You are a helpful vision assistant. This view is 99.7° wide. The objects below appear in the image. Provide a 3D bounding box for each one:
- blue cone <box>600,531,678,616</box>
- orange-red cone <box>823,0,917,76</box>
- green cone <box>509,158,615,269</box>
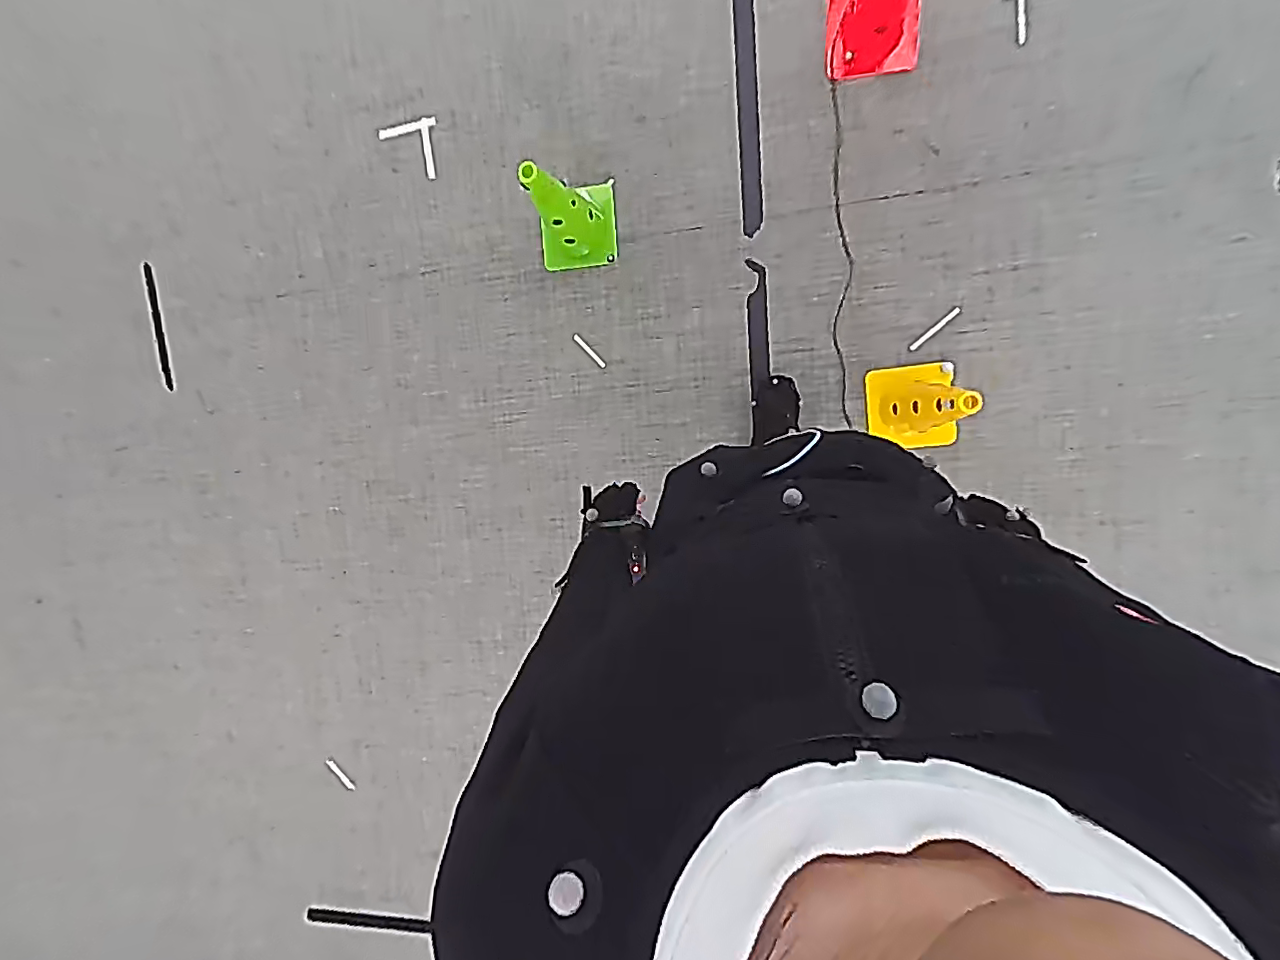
[{"bbox_3d":[-0.023,0.253,1.330,0.192,0.380,0.193,1,96,11],"label":"blue cone"},{"bbox_3d":[0.501,-1.020,1.077,0.199,0.360,0.198,1,98,9],"label":"orange-red cone"},{"bbox_3d":[-0.201,-0.645,1.246,0.202,0.368,0.200,-3,96,12],"label":"green cone"}]
